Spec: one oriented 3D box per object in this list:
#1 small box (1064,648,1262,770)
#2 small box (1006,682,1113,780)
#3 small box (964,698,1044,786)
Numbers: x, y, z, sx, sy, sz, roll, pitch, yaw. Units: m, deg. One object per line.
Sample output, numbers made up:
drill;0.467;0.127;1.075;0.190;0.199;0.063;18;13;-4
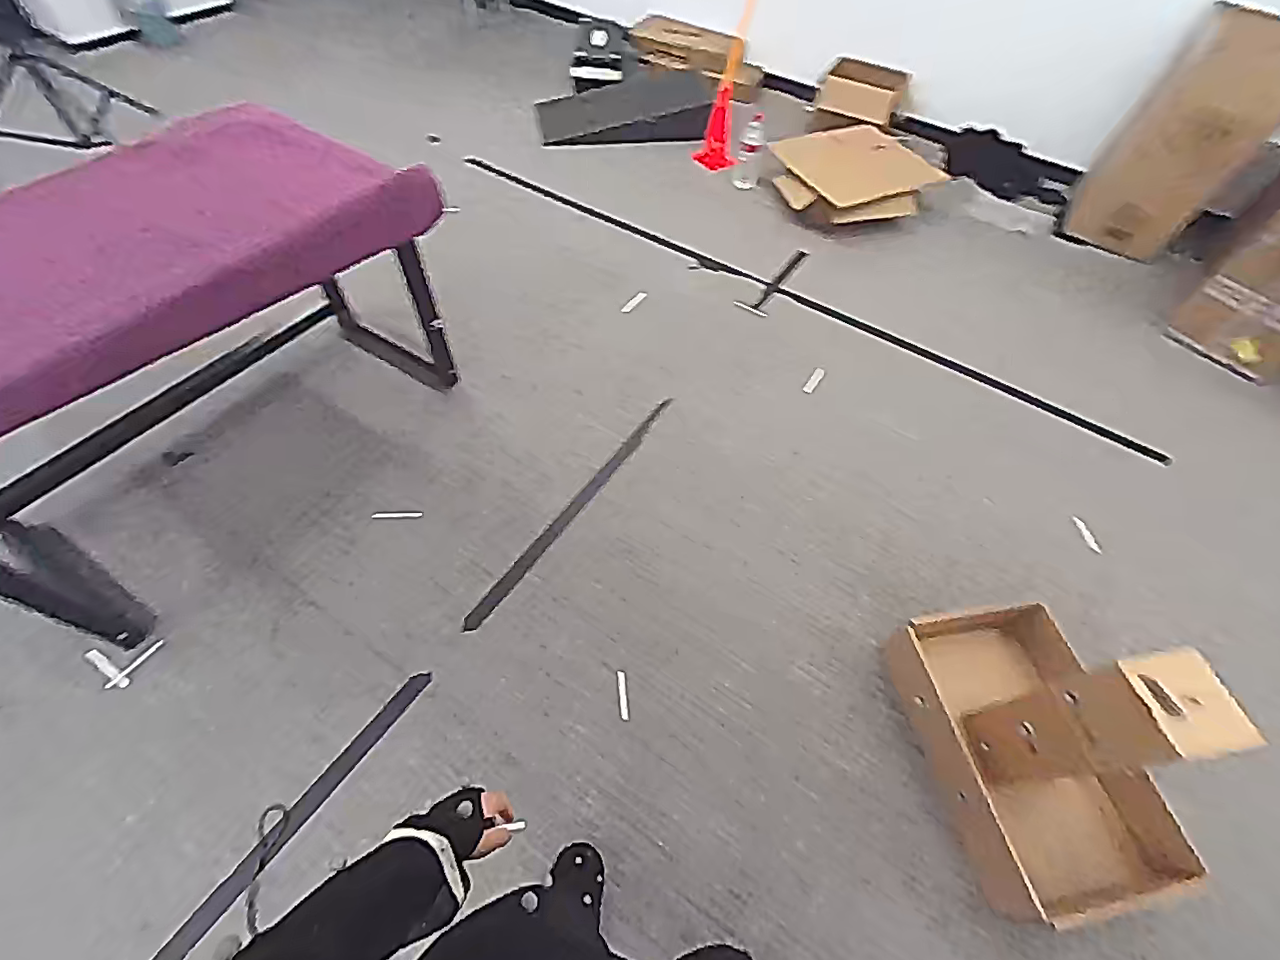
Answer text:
small box;0.947;0.429;1.006;0.179;0.176;0.168;-5;56;-10
small box;0.931;0.523;1.140;0.179;0.176;0.168;-5;55;-7
small box;0.919;0.613;1.274;0.179;0.176;0.168;-4;56;-7
